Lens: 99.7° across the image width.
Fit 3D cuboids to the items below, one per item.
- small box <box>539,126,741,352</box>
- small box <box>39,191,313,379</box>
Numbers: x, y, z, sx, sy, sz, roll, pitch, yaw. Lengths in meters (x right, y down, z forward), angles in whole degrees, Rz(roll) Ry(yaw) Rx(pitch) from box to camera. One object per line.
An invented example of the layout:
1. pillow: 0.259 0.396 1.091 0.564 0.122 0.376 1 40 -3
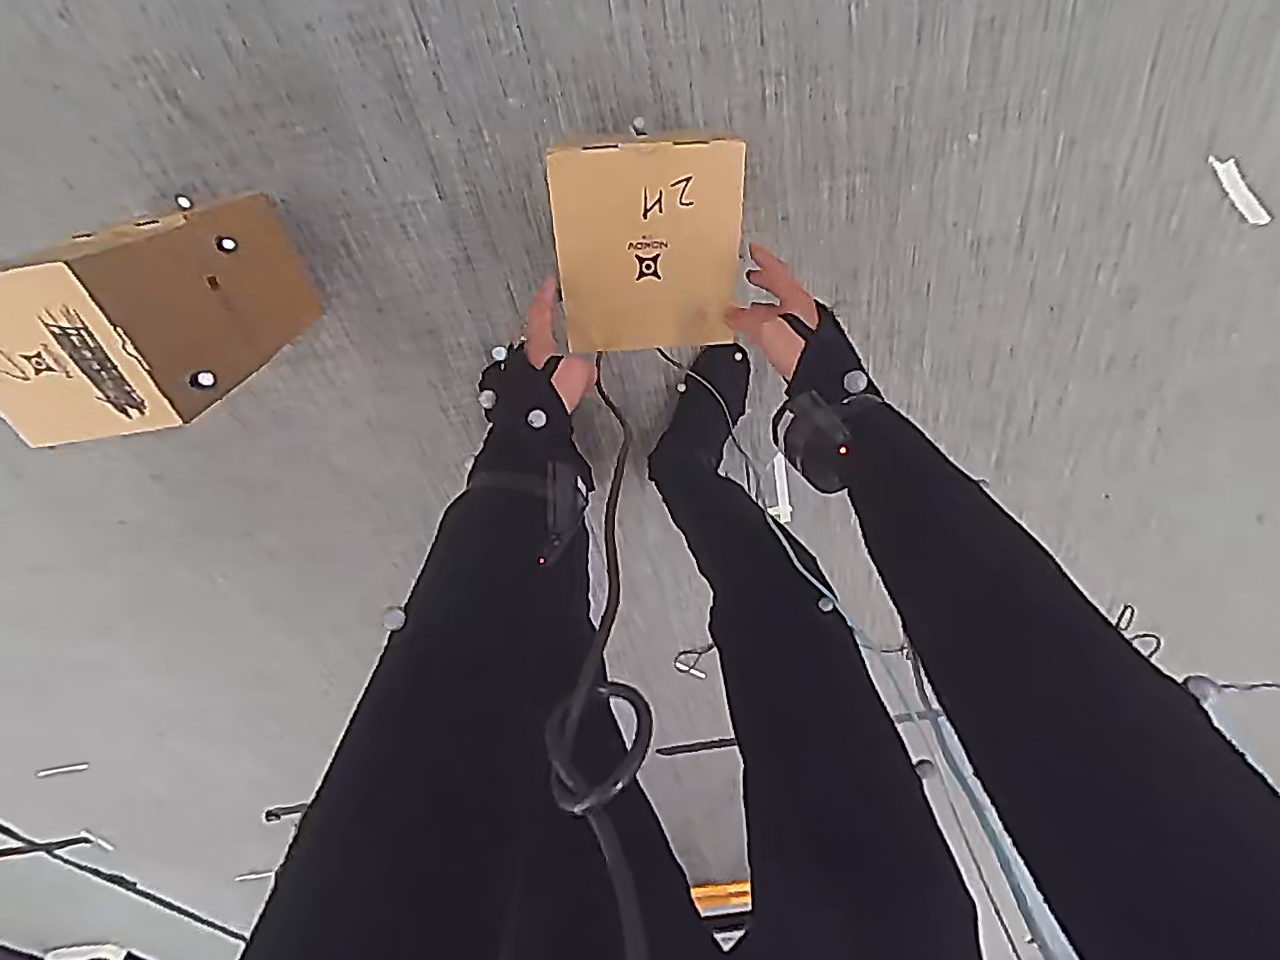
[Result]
1. small box: -0.003 -0.246 0.545 0.168 0.176 0.179 -4 126 -2
2. small box: -0.572 -0.256 0.703 0.168 0.176 0.179 -9 125 4
